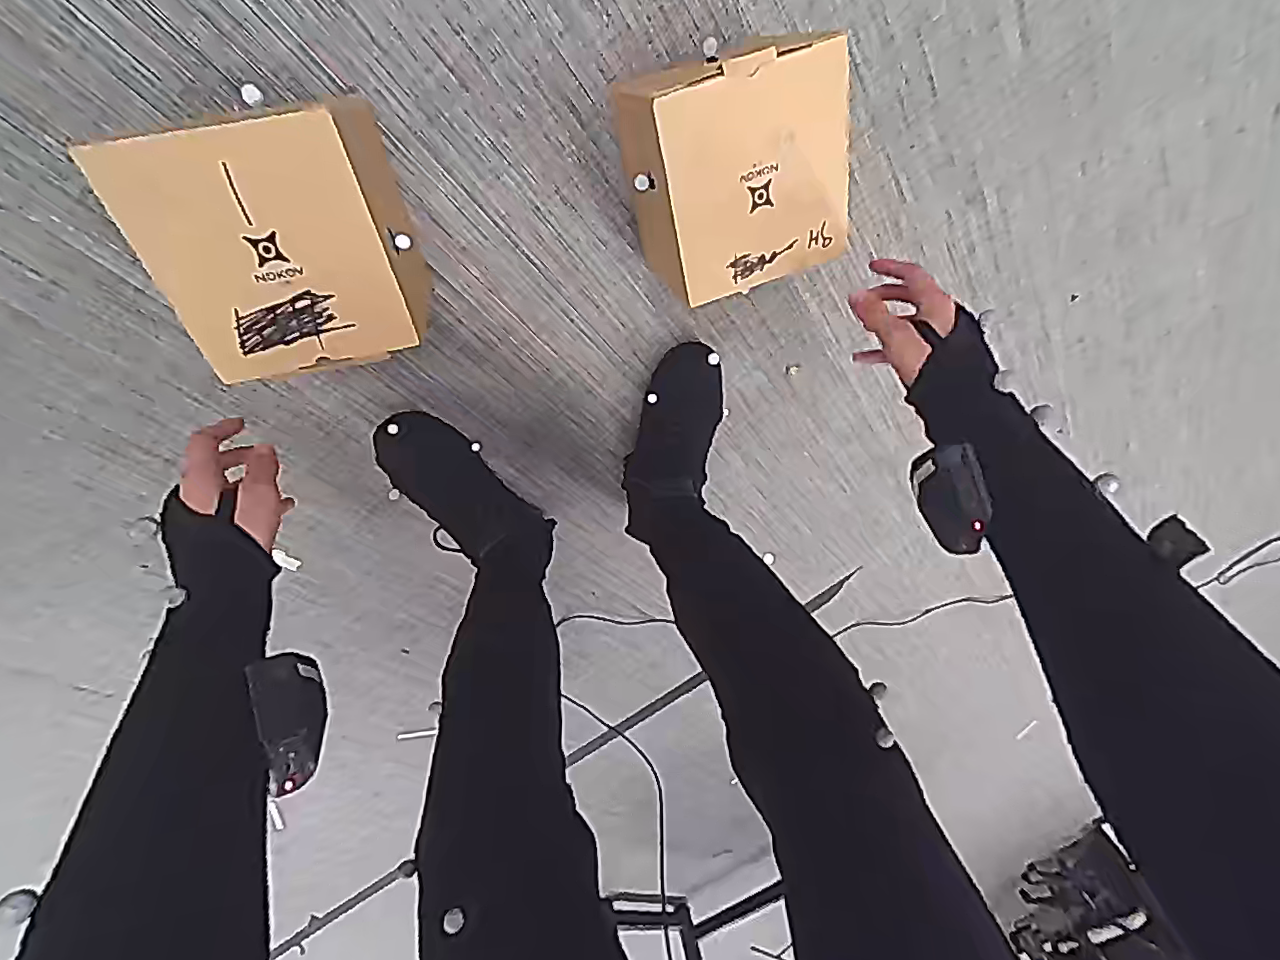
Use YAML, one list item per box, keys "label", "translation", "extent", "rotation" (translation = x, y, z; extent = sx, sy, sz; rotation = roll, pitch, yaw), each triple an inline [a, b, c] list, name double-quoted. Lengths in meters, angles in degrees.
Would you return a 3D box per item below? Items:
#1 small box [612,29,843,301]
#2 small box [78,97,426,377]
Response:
- label: "small box"
  translation: [0.081, -0.307, 0.534]
  extent: [0.168, 0.176, 0.179]
  rotation: [-19, 129, -3]
- label: "small box"
  translation: [-0.301, -0.219, 0.478]
  extent: [0.168, 0.176, 0.179]
  rotation: [-14, 129, -7]
